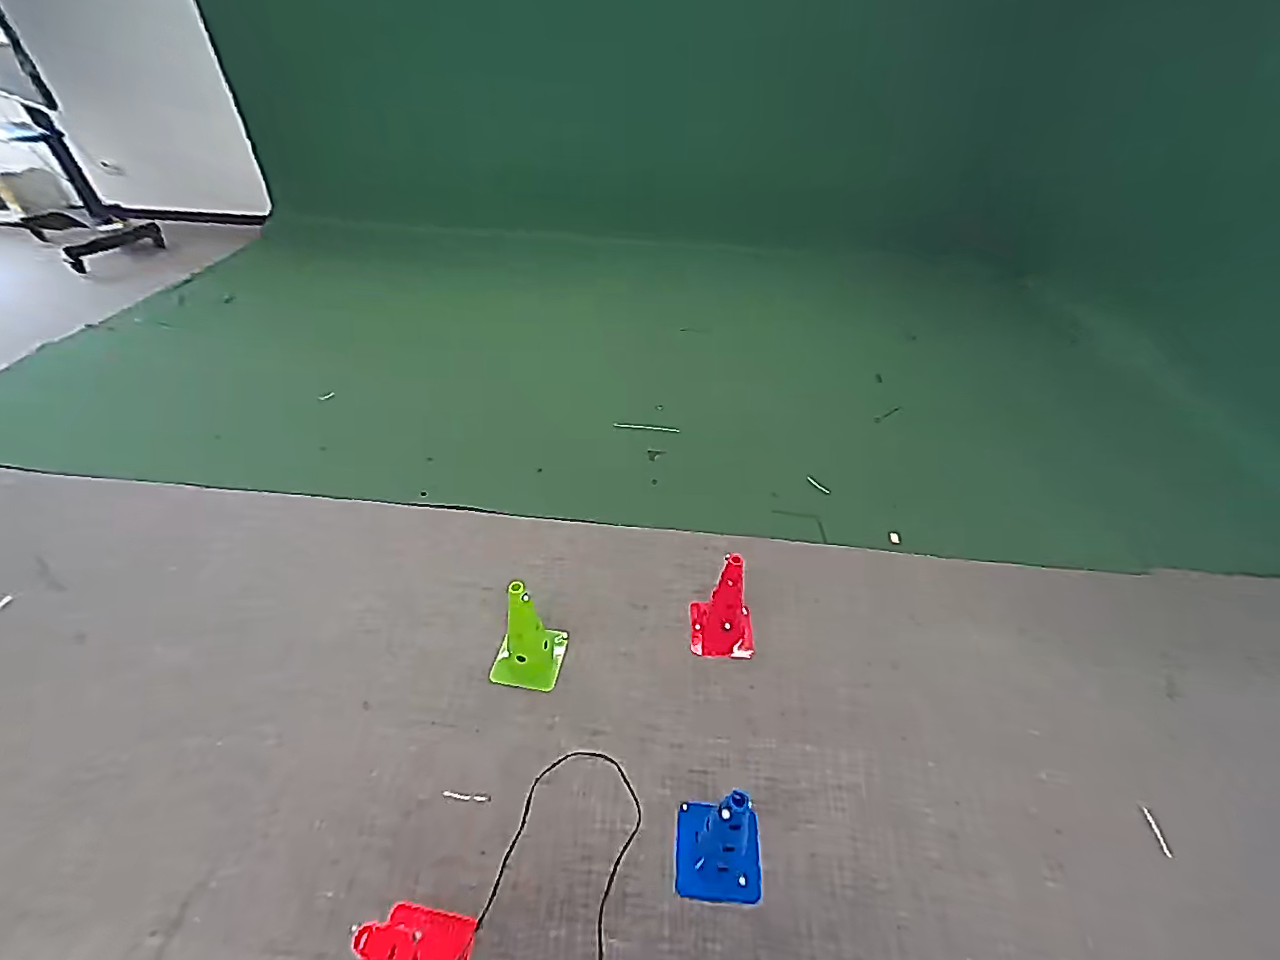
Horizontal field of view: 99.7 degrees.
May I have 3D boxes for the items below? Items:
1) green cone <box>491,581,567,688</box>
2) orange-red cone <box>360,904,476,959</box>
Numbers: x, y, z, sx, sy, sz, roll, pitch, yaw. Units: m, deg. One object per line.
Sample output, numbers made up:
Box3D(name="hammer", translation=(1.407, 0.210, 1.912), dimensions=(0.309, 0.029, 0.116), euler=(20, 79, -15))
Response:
Box3D(name="green cone", translation=(-0.337, 0.411, 1.554), dimensions=(0.200, 0.368, 0.202), euler=(6, 43, 6))
Box3D(name="orange-red cone", translation=(-0.457, 0.891, 1.014), dimensions=(0.198, 0.360, 0.199), euler=(9, 41, 6))
